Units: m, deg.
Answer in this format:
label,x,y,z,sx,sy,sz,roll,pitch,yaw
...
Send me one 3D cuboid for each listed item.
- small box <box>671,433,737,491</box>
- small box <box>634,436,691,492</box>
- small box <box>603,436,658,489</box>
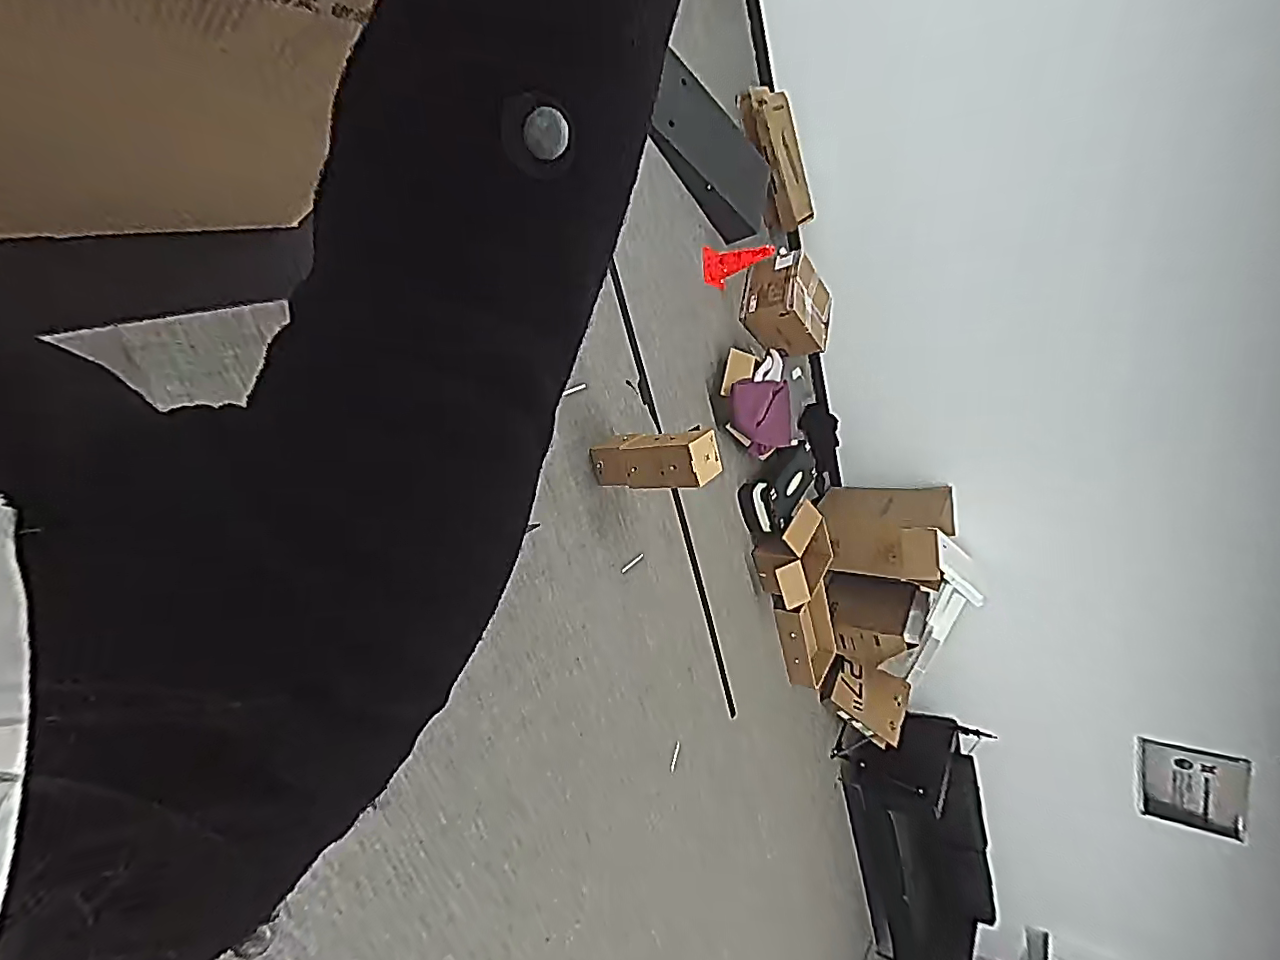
label,x,y,z,sx,sy,sz,roll,pitch,yaw
small box,0.228,-0.064,1.974,0.179,0.176,0.168,-32,114,-46
small box,0.102,-0.062,2.080,0.179,0.176,0.168,-33,114,-46
small box,-0.022,-0.071,2.188,0.179,0.176,0.168,-33,114,-45
